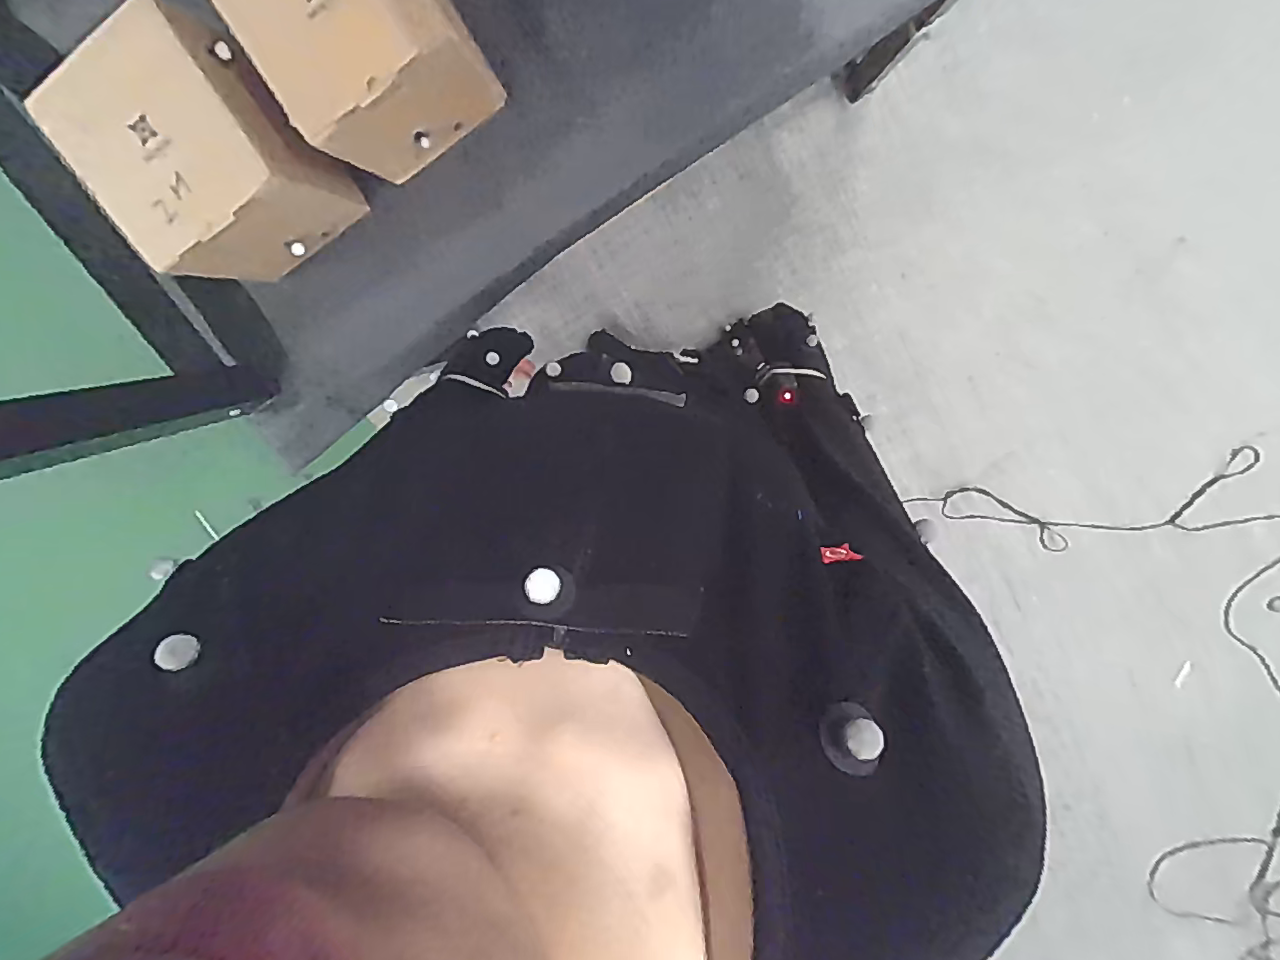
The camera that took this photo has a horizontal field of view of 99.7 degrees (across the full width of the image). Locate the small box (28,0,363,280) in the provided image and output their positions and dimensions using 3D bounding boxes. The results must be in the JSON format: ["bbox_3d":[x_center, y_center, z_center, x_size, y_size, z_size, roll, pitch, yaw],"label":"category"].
[{"bbox_3d":[-0.446,-0.334,0.575,0.168,0.176,0.179,-29,103,12],"label":"small box"}]
